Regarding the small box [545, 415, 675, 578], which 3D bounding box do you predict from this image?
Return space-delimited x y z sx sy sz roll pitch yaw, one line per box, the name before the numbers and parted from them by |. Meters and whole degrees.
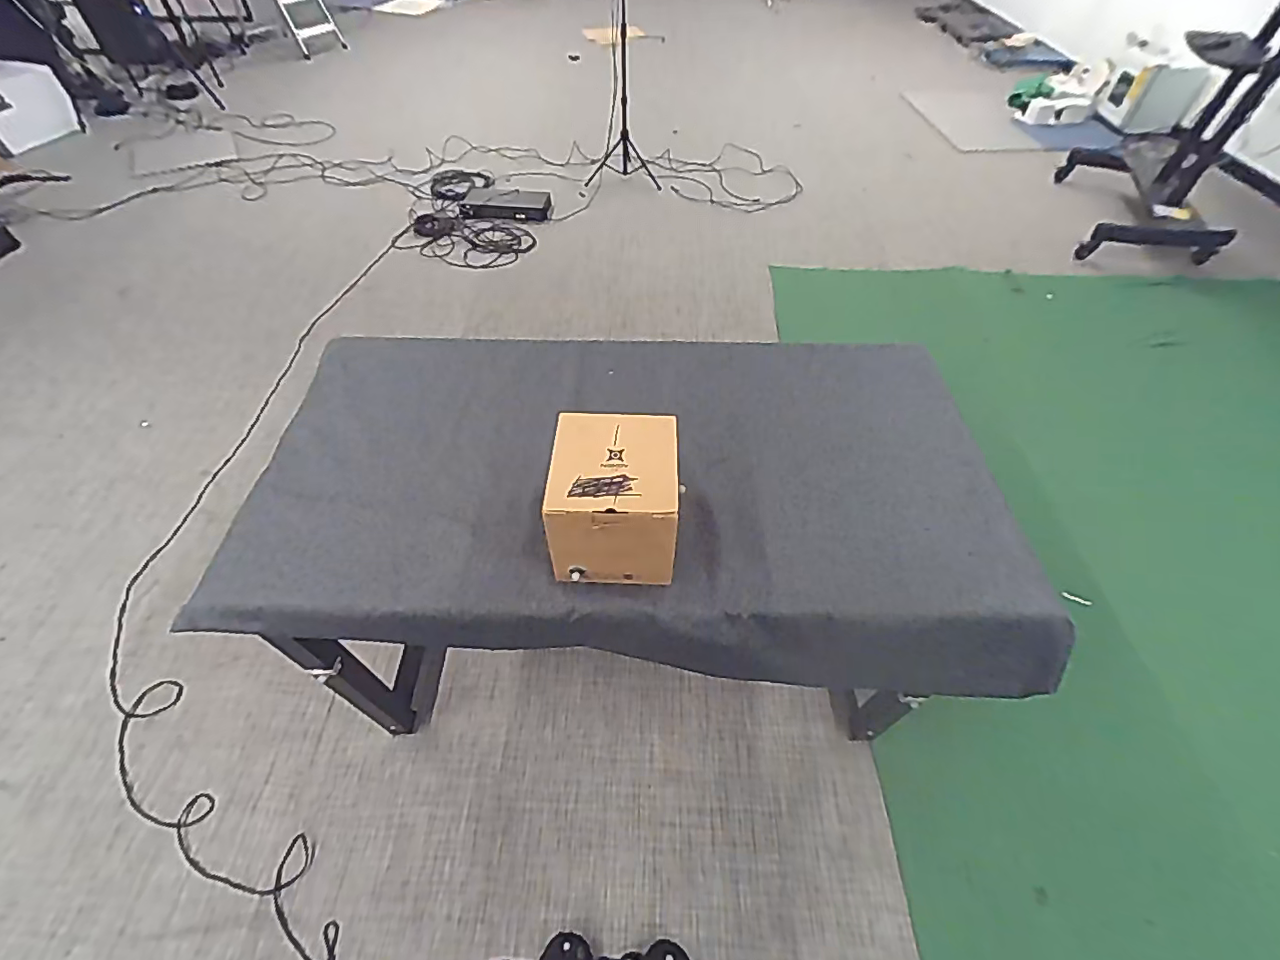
small box | -0.034 0.027 0.782 0.168 0.176 0.179 2 49 1
